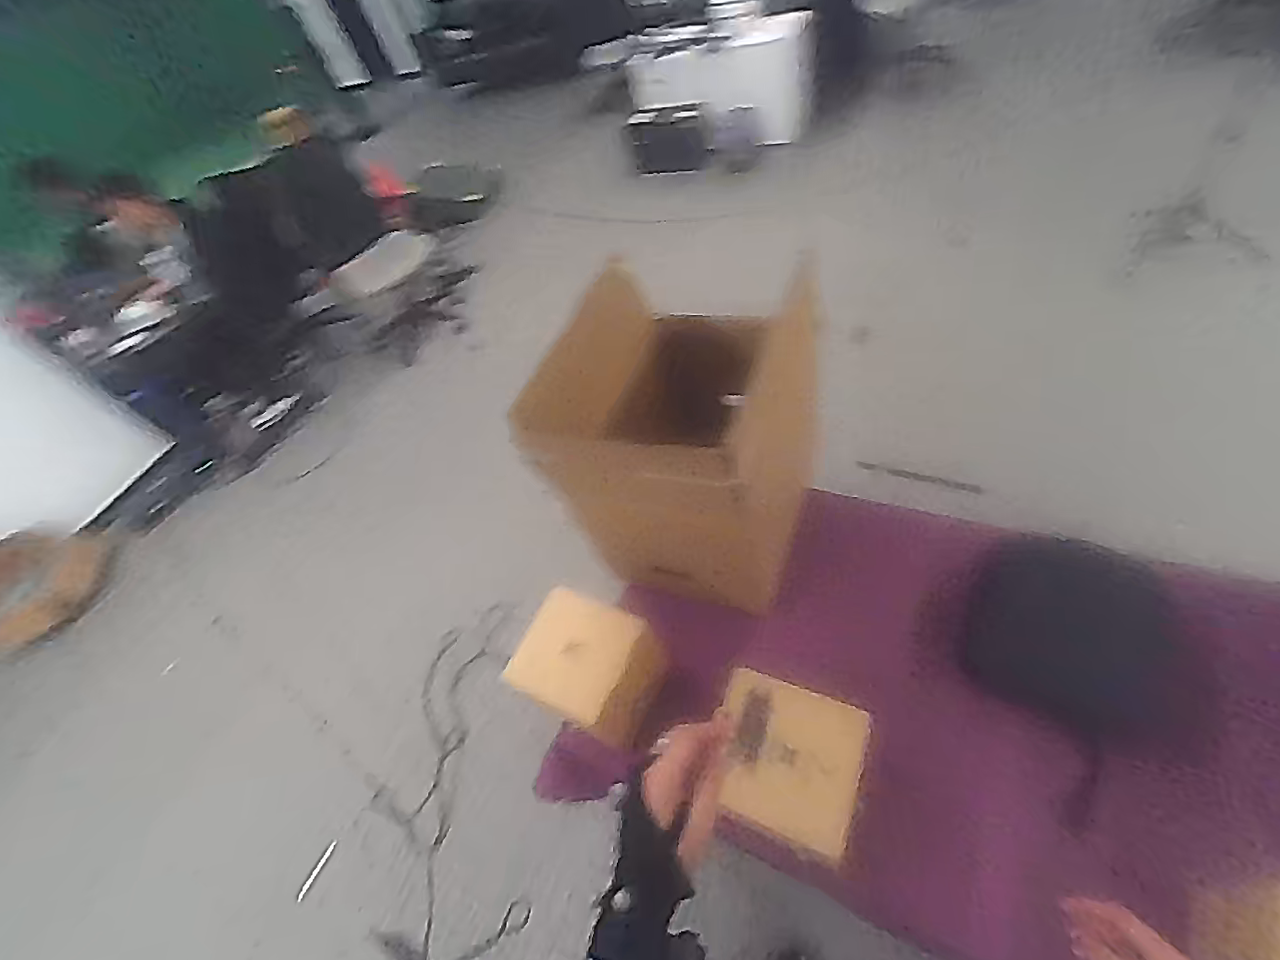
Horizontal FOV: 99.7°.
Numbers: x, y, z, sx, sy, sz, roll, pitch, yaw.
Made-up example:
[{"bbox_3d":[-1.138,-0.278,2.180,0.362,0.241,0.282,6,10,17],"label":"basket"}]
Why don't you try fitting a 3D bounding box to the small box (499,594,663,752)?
[{"bbox_3d":[-0.085,0.314,0.873,0.179,0.176,0.168,13,58,27],"label":"small box"}]
